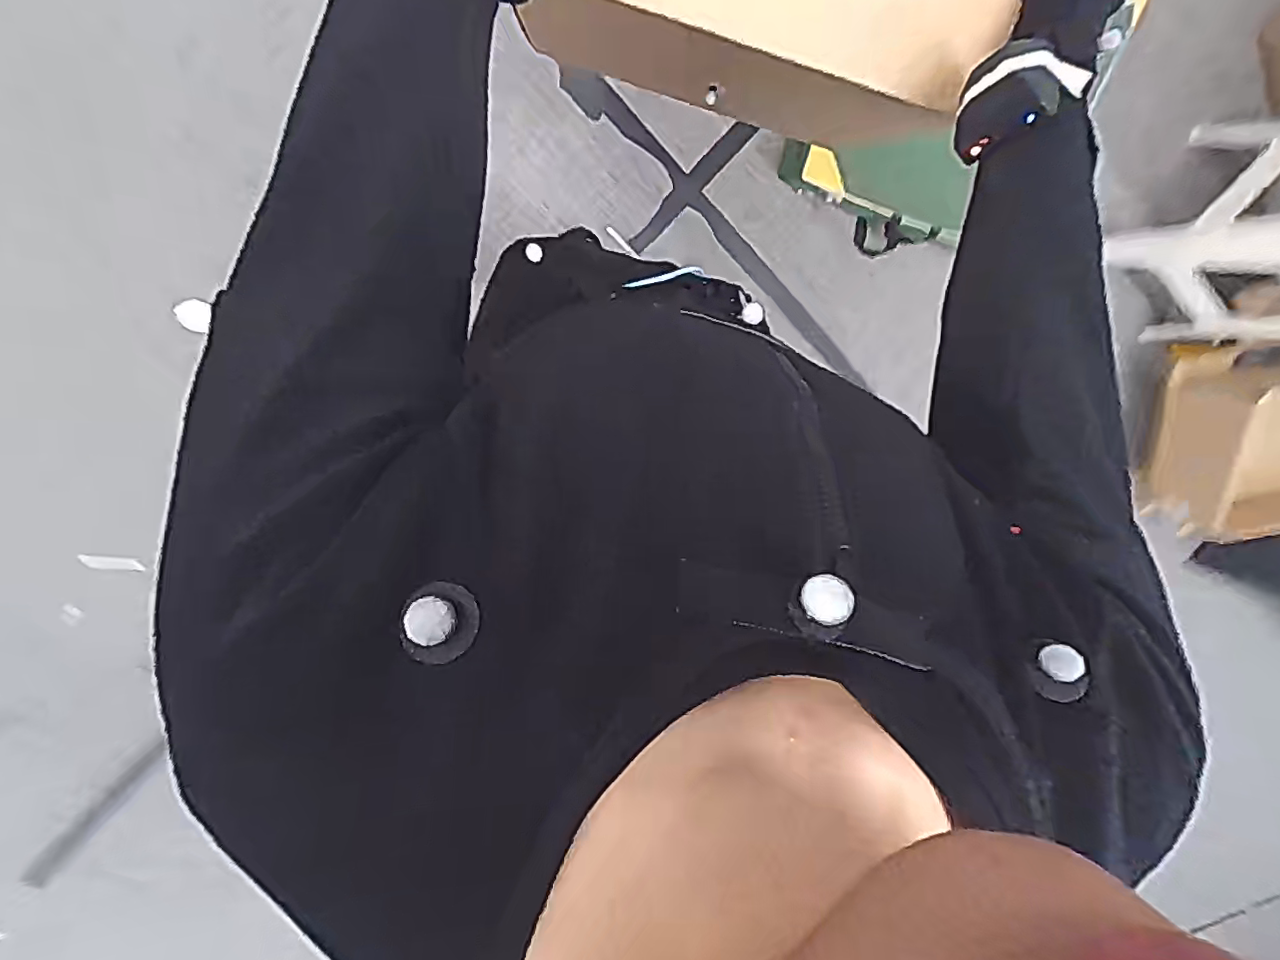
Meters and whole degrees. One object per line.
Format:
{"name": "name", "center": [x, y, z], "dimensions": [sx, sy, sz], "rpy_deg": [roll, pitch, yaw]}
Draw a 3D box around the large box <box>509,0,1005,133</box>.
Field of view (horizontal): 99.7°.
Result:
{"name": "large box", "center": [0.106, -0.549, 0.491], "dimensions": [0.408, 0.320, 0.320], "rpy_deg": [11, 116, -9]}
